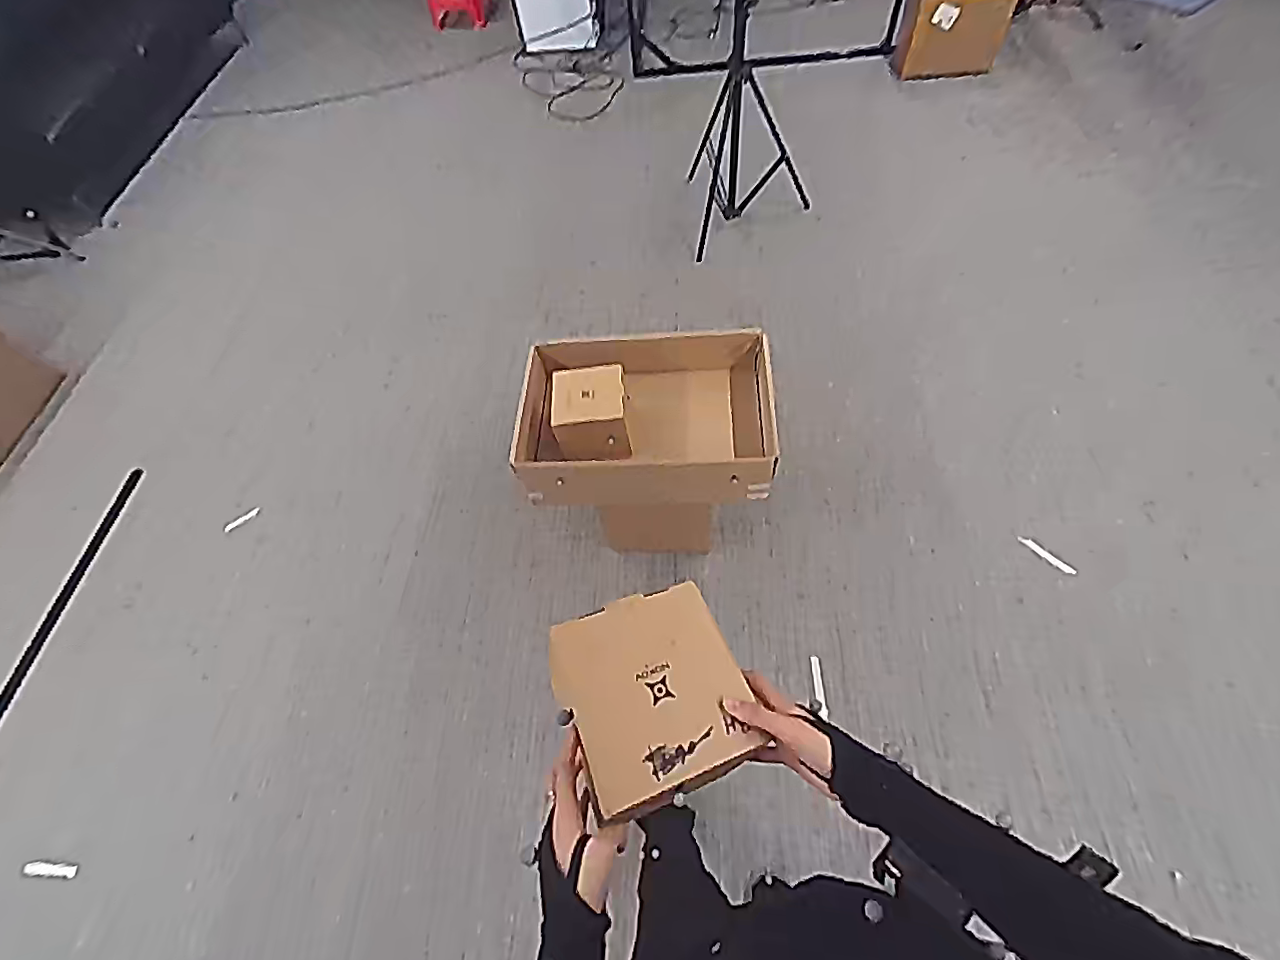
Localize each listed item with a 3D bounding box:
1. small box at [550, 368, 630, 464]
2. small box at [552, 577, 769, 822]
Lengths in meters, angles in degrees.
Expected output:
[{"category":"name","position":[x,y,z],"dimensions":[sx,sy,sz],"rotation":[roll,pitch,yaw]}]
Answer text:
[{"category":"small box","position":[-0.119,-0.157,1.359],"dimensions":[0.179,0.176,0.168],"rotation":[-6,58,4]},{"category":"small box","position":[0.005,0.236,0.584],"dimensions":[0.168,0.176,0.179],"rotation":[-14,55,-18]}]
